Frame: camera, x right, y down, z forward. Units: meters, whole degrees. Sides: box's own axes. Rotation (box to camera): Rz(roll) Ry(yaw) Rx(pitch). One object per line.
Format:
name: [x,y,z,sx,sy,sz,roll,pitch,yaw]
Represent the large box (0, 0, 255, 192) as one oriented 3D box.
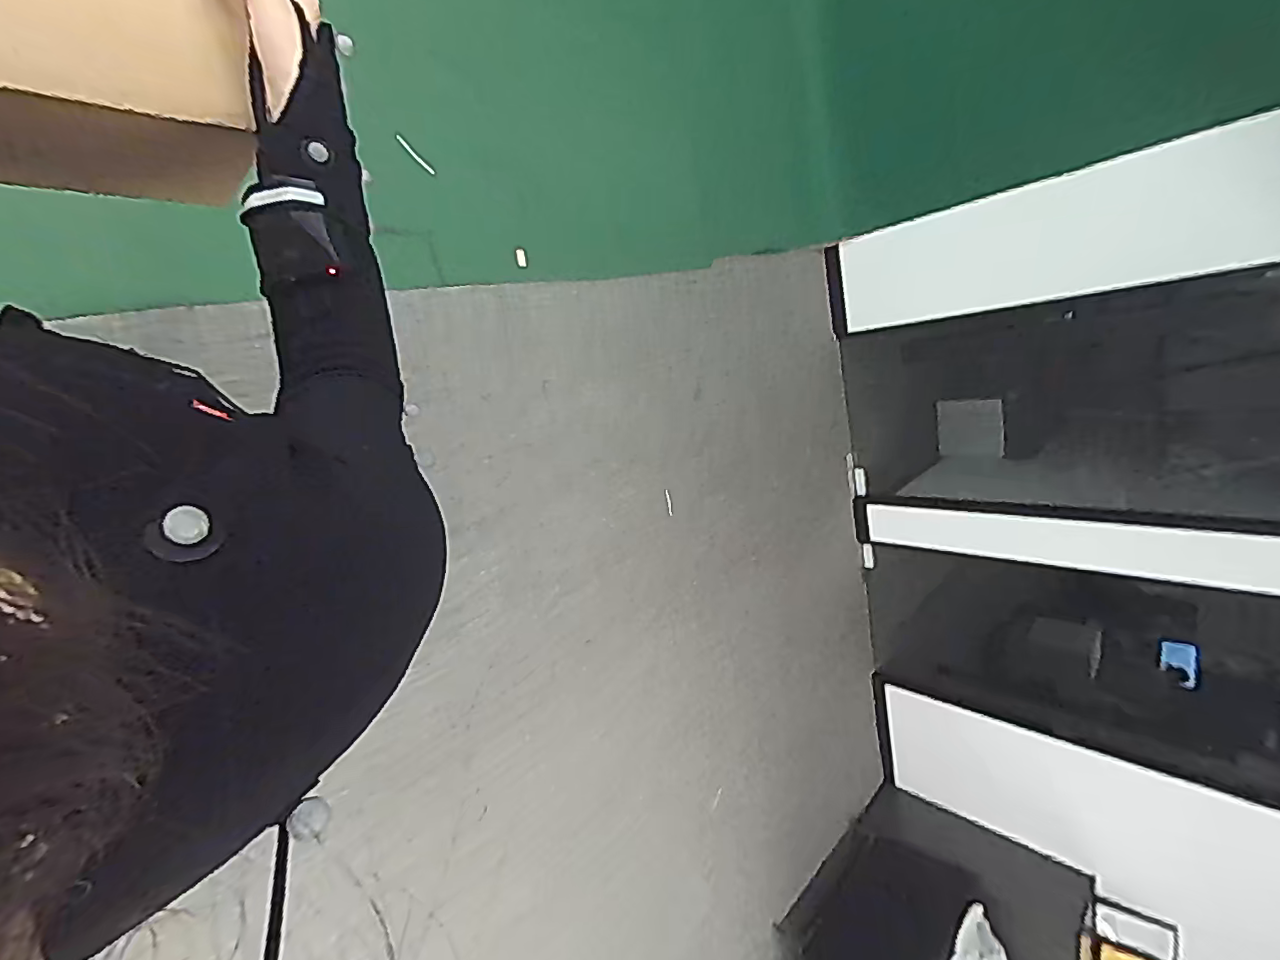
large box: [-0.541,-0.403,0.357,0.408,0.320,0.320,-14,110,-38]
